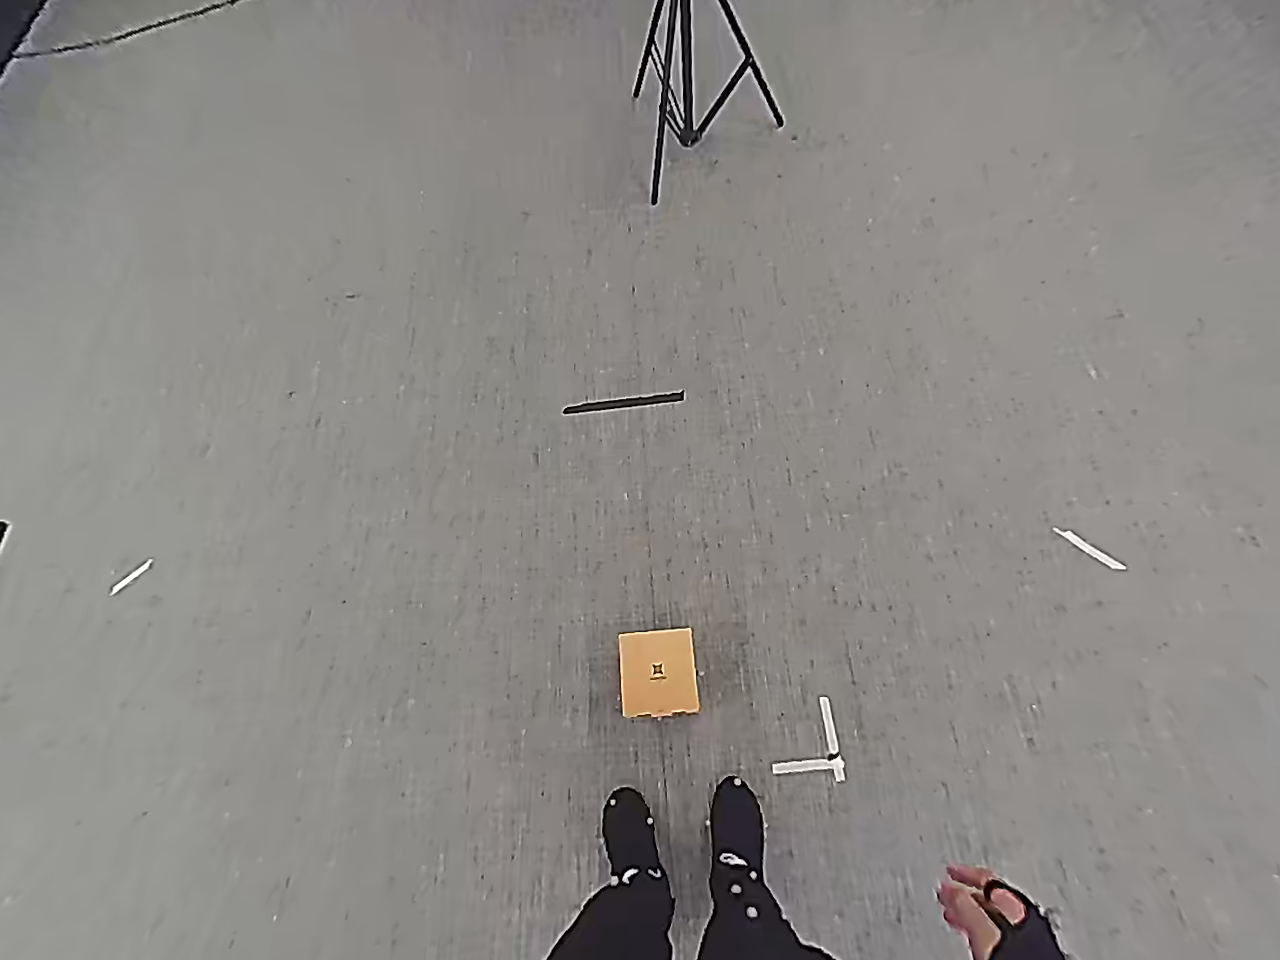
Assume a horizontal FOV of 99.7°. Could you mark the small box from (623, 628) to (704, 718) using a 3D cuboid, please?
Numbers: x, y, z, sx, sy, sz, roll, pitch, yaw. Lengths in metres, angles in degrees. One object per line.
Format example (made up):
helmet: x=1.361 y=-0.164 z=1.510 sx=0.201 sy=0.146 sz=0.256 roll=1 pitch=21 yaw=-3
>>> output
small box: x=0.055 y=0.448 z=1.243 sx=0.168 sy=0.176 sz=0.179 roll=-7 pitch=67 yaw=4
